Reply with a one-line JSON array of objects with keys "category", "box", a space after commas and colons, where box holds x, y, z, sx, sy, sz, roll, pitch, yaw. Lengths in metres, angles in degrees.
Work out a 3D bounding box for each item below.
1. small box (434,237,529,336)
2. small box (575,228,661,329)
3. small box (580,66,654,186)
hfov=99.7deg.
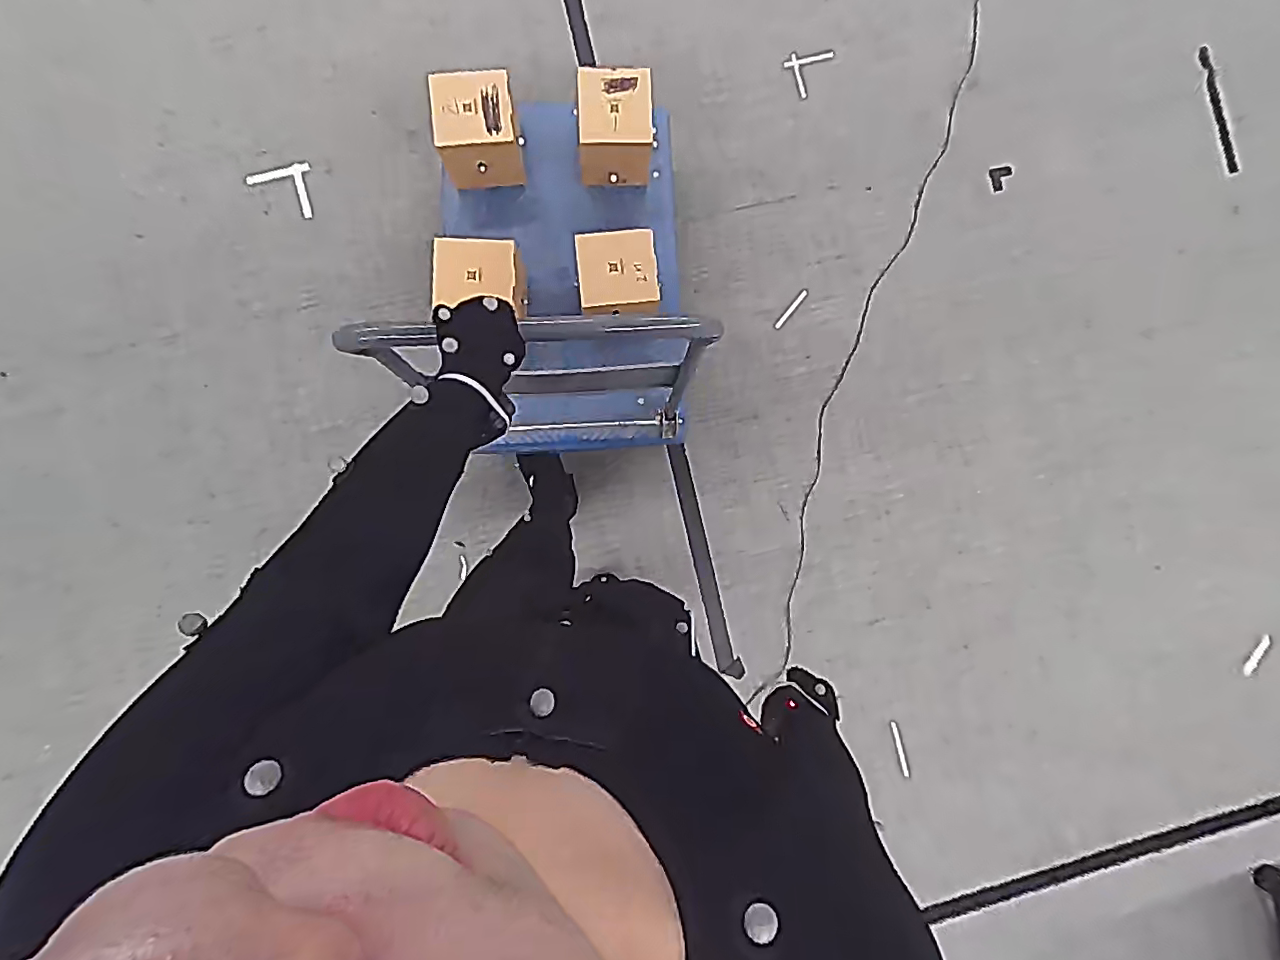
[{"category": "small box", "box": [-0.358, -0.437, 1.244, 0.179, 0.176, 0.168, 0, 87, -4]}, {"category": "small box", "box": [-0.050, -0.460, 1.258, 0.179, 0.176, 0.168, -6, 87, -3]}, {"category": "small box", "box": [-0.057, -0.830, 1.278, 0.168, 0.176, 0.179, -2, 88, -3]}]
